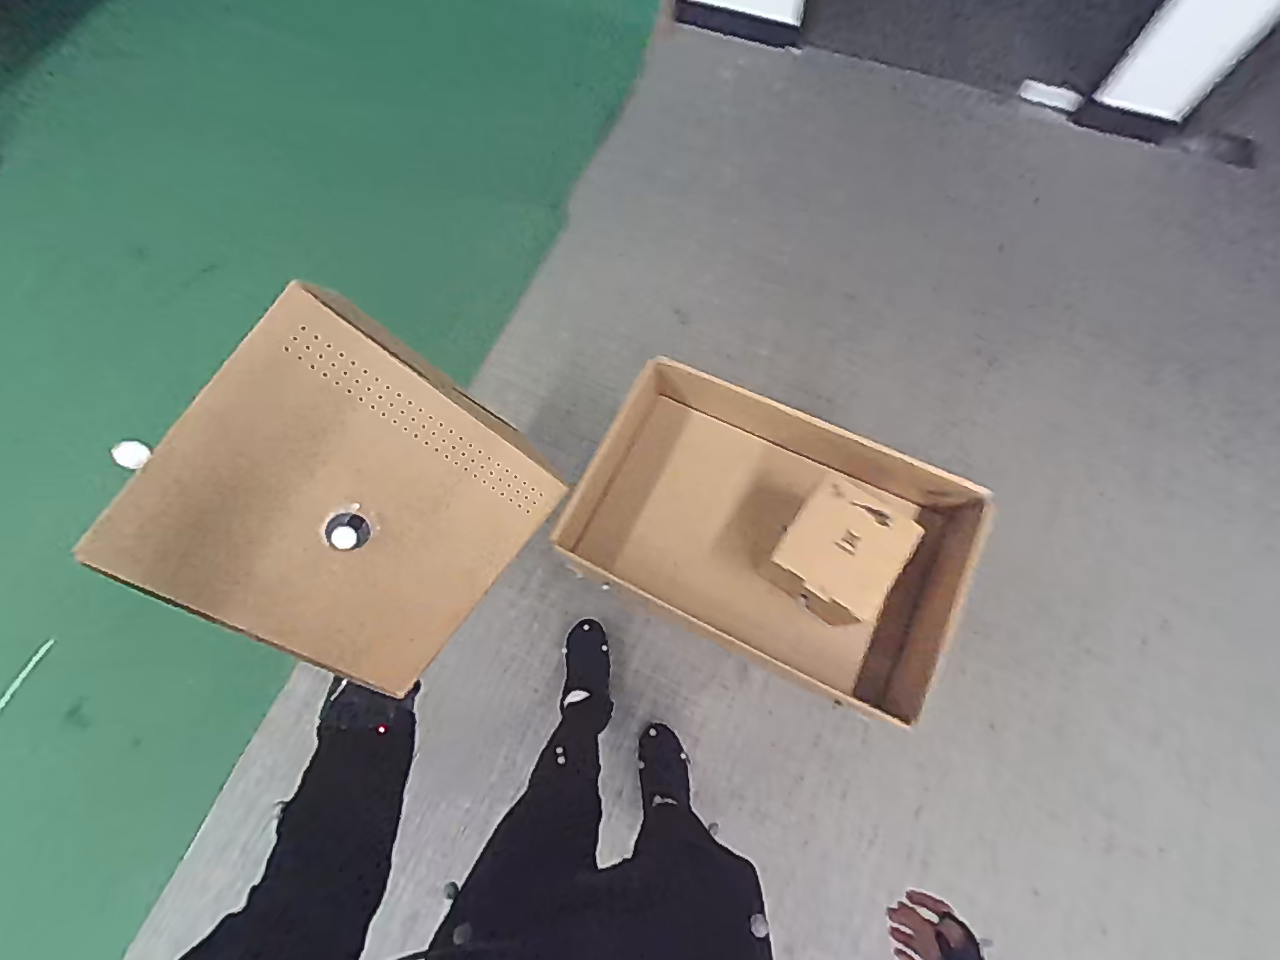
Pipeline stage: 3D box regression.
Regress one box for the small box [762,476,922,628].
[{"bbox_3d":[0.317,0.128,0.891,0.168,0.176,0.179,35,78,13],"label":"small box"}]
